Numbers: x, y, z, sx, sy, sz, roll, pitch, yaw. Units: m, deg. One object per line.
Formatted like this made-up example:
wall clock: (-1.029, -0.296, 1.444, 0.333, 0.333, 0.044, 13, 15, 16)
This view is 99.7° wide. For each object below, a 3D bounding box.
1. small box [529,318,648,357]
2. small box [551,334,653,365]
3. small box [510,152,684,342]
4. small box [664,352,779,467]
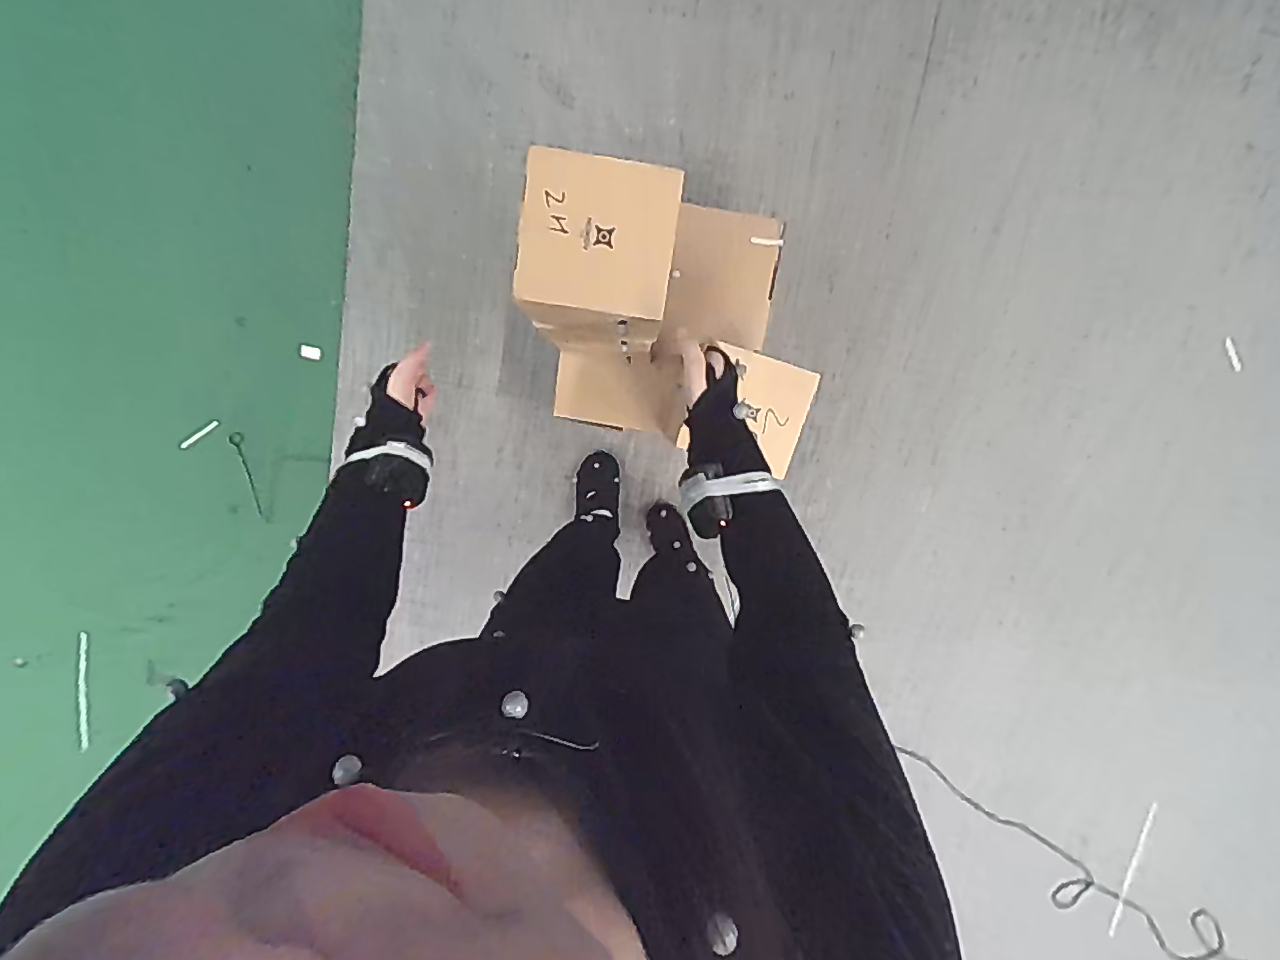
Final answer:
small box: (-0.065, -0.294, 0.850, 0.179, 0.176, 0.168, 8, 96, -3)
small box: (-0.061, -0.311, 1.012, 0.179, 0.176, 0.168, 7, 96, -1)
small box: (-0.051, -0.278, 0.686, 0.179, 0.176, 0.168, 9, 96, -2)
small box: (0.145, -0.134, 1.038, 0.168, 0.176, 0.179, 13, 97, -3)
